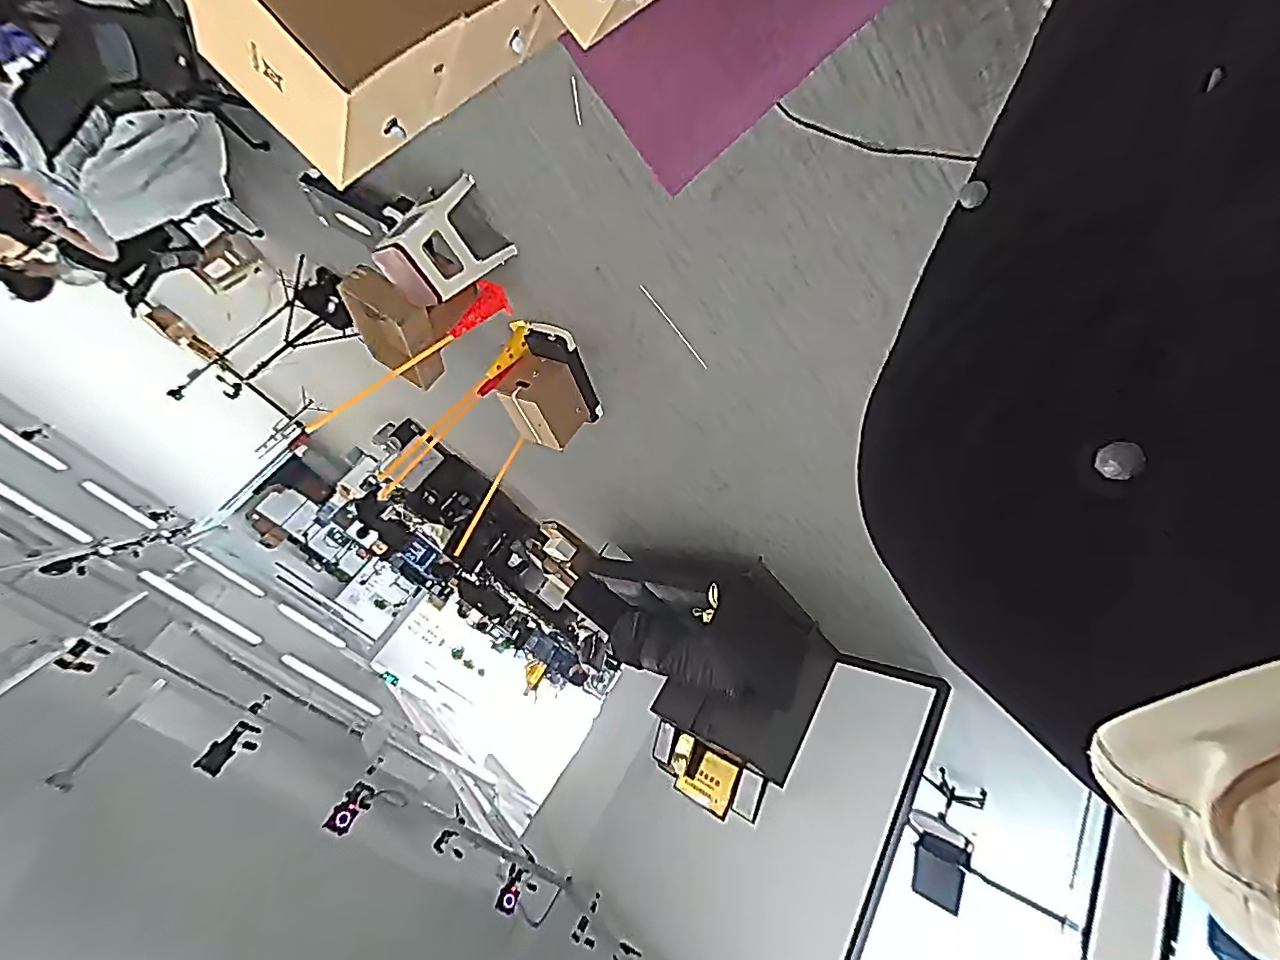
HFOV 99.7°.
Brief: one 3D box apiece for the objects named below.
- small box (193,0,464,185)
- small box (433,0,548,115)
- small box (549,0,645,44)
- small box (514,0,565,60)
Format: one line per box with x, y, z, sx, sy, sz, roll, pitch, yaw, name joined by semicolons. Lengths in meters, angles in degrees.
-0.312;-0.459;0.555;0.179;0.176;0.168;45;156;-20;small box
-0.225;-0.581;0.618;0.179;0.176;0.168;44;156;-21;small box
-0.018;-0.526;0.440;0.179;0.176;0.168;46;155;-22;small box
-0.138;-0.703;0.684;0.179;0.176;0.168;44;156;-21;small box
